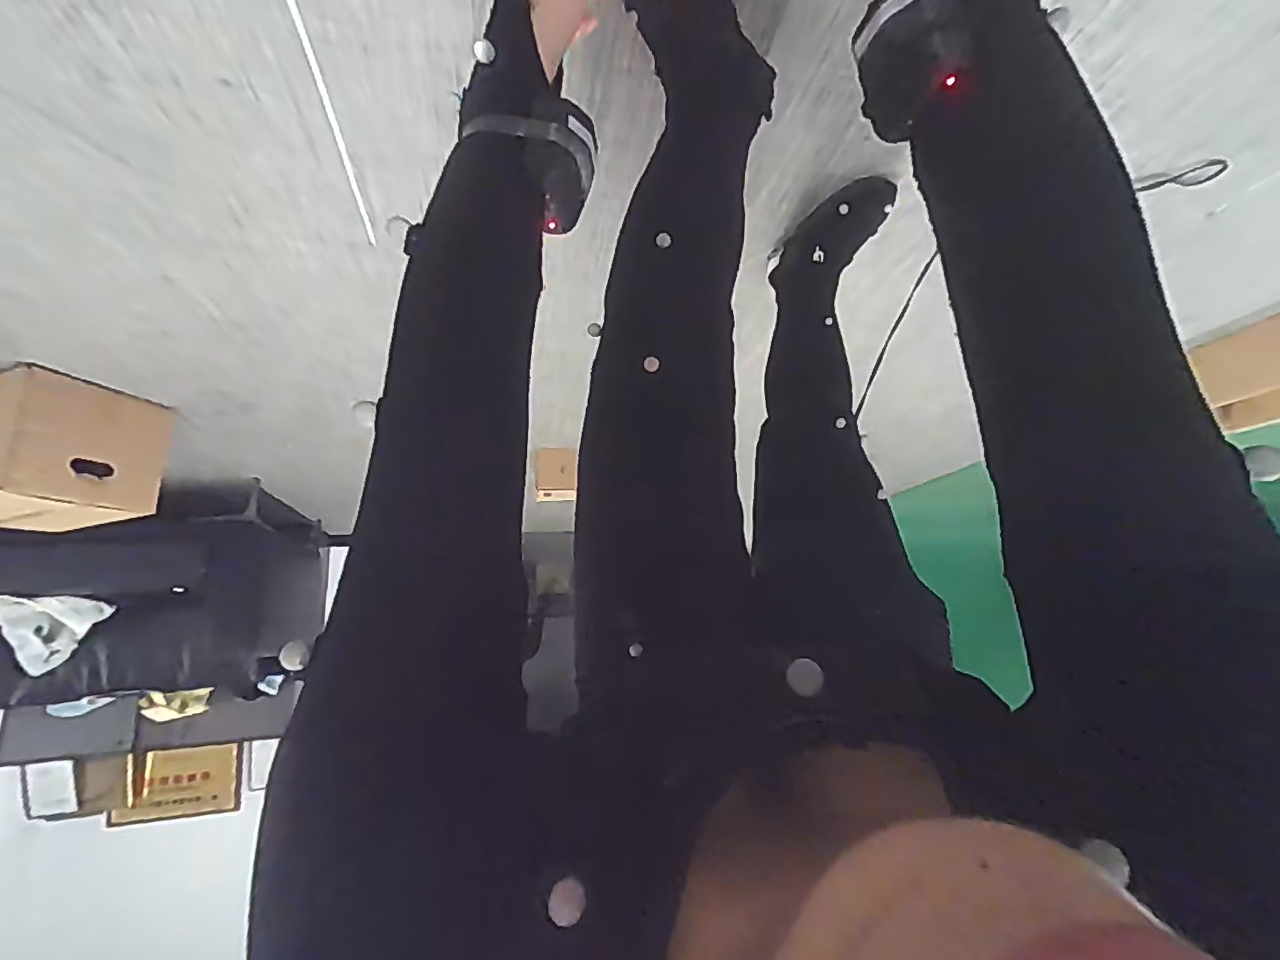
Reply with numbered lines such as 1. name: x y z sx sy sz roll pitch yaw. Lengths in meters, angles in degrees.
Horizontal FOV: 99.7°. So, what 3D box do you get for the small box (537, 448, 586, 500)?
1. small box: -0.315 -0.025 2.146 0.179 0.176 0.168 0 164 -15
